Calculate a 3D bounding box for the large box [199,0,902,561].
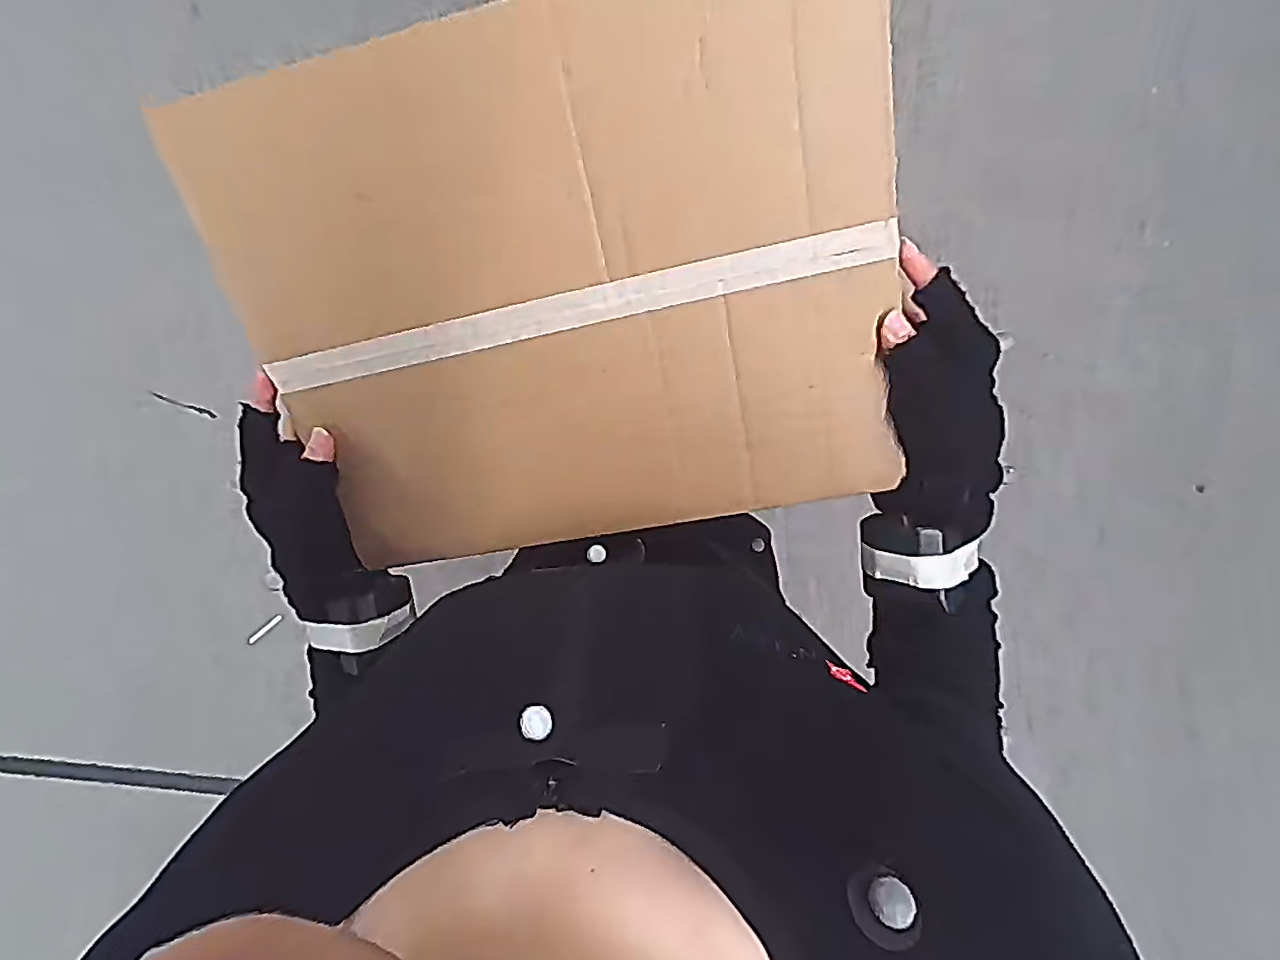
[{"bbox_3d":[-0.035,-0.163,0.485,0.408,0.320,0.320,-10,112,9],"label":"large box"}]
